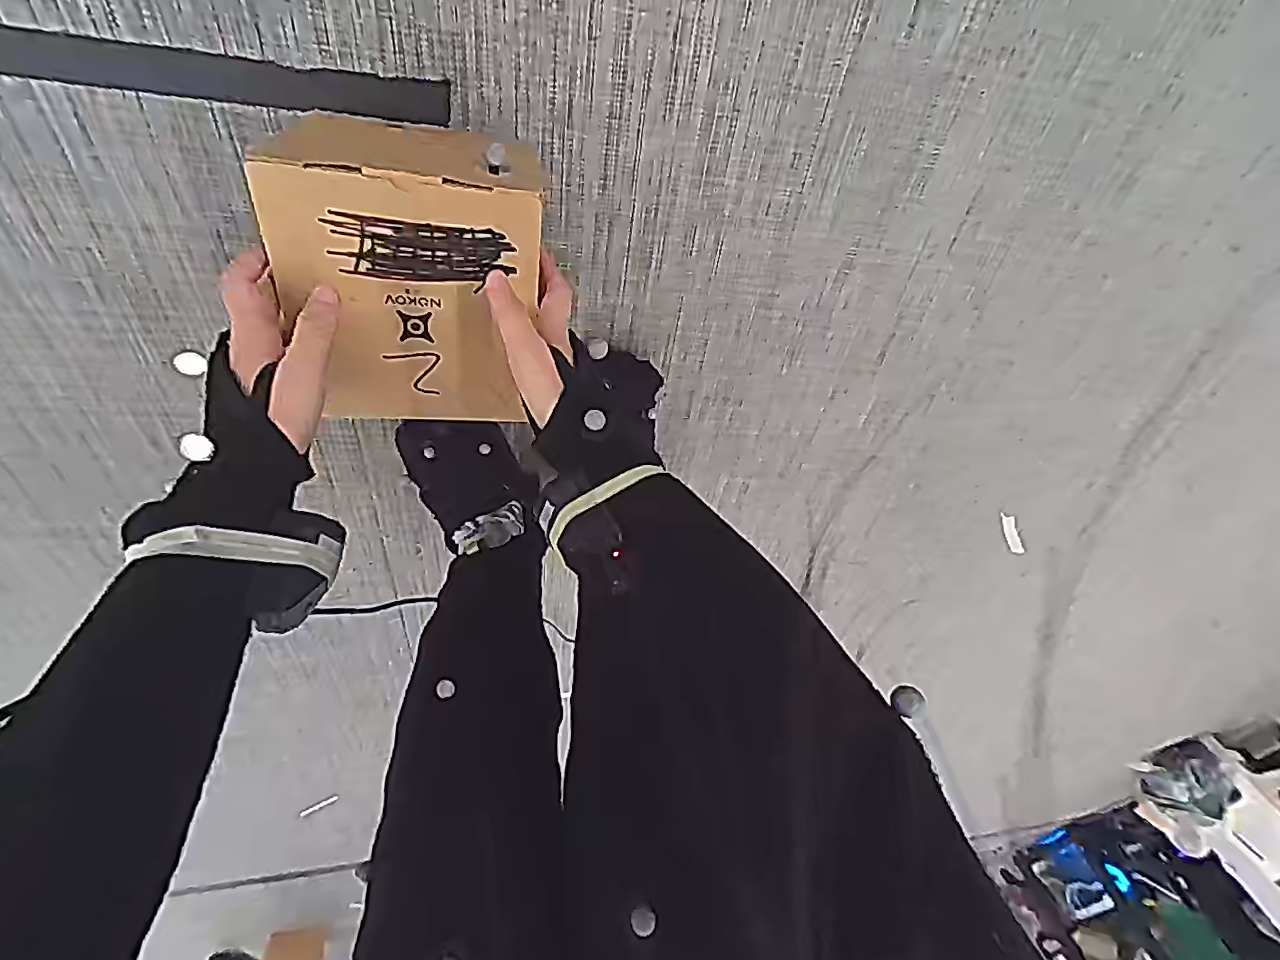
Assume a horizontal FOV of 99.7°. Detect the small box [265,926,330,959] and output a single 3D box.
[{"bbox_3d":[-1.157,1.620,1.799,0.179,0.176,0.168,13,126,-25],"label":"small box"}]
